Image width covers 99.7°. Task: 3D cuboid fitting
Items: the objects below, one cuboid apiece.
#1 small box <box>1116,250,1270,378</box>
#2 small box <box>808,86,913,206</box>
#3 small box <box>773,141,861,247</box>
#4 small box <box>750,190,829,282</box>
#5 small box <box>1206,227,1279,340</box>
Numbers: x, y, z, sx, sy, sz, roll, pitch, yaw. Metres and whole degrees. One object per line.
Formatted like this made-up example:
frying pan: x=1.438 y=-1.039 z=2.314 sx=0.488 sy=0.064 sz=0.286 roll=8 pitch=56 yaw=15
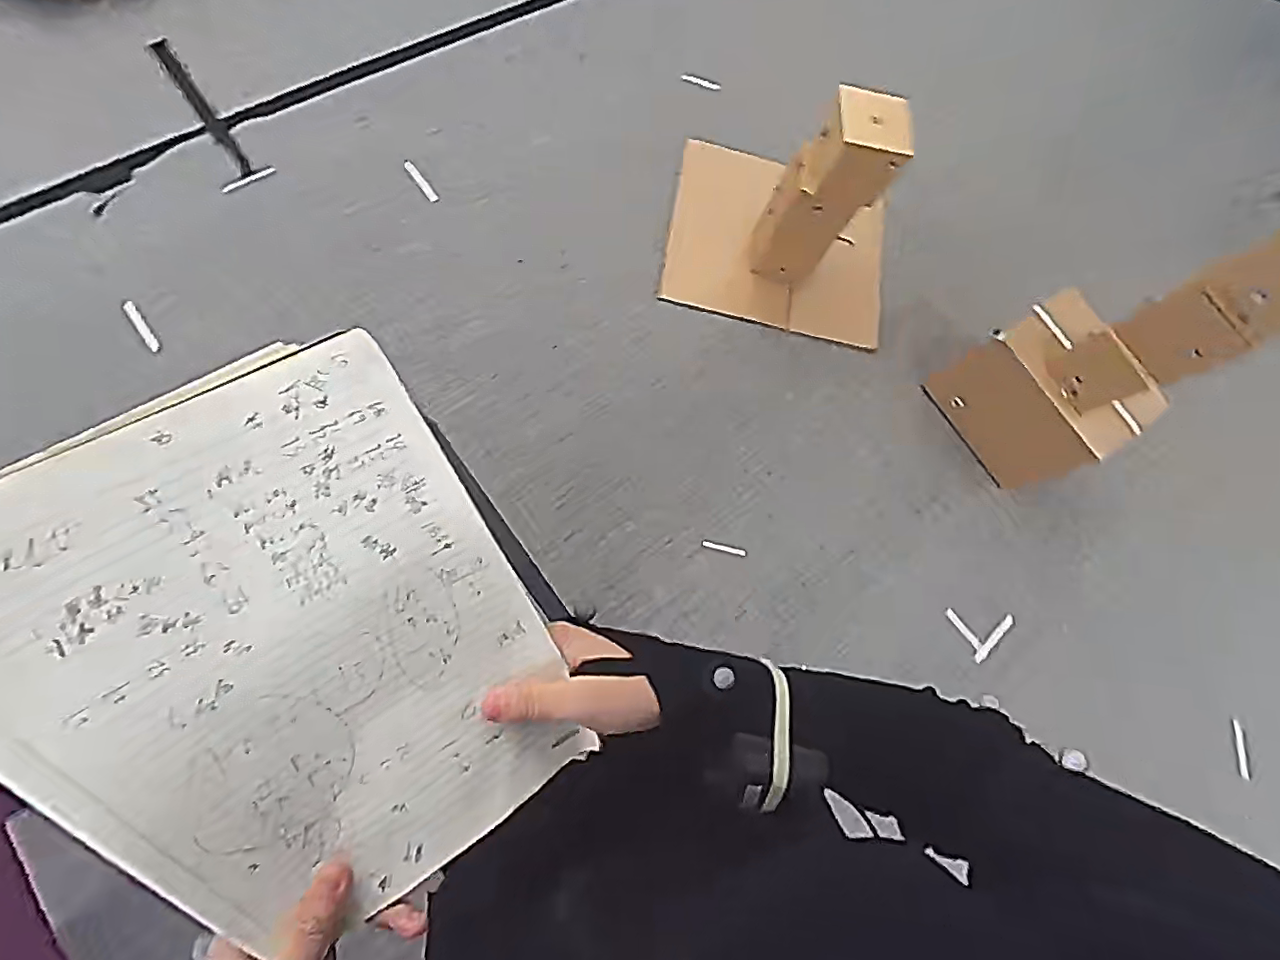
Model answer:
small box: x=1.186 y=-0.339 z=1.146 sx=0.168 sy=0.176 sz=0.179 roll=-33 pitch=81 yaw=-17
small box: x=0.520 y=-0.794 z=1.302 sx=0.179 sy=0.176 sz=0.168 roll=4 pitch=75 yaw=-11
small box: x=0.474 y=-0.760 z=1.455 sx=0.179 sy=0.176 sz=0.168 roll=11 pitch=74 yaw=-9
small box: x=0.446 y=-0.718 z=1.612 sx=0.179 sy=0.176 sz=0.168 roll=10 pitch=74 yaw=-9
small box: x=1.221 y=-0.391 z=0.994 sx=0.179 sy=0.176 sz=0.168 roll=-31 pitch=81 yaw=-17
